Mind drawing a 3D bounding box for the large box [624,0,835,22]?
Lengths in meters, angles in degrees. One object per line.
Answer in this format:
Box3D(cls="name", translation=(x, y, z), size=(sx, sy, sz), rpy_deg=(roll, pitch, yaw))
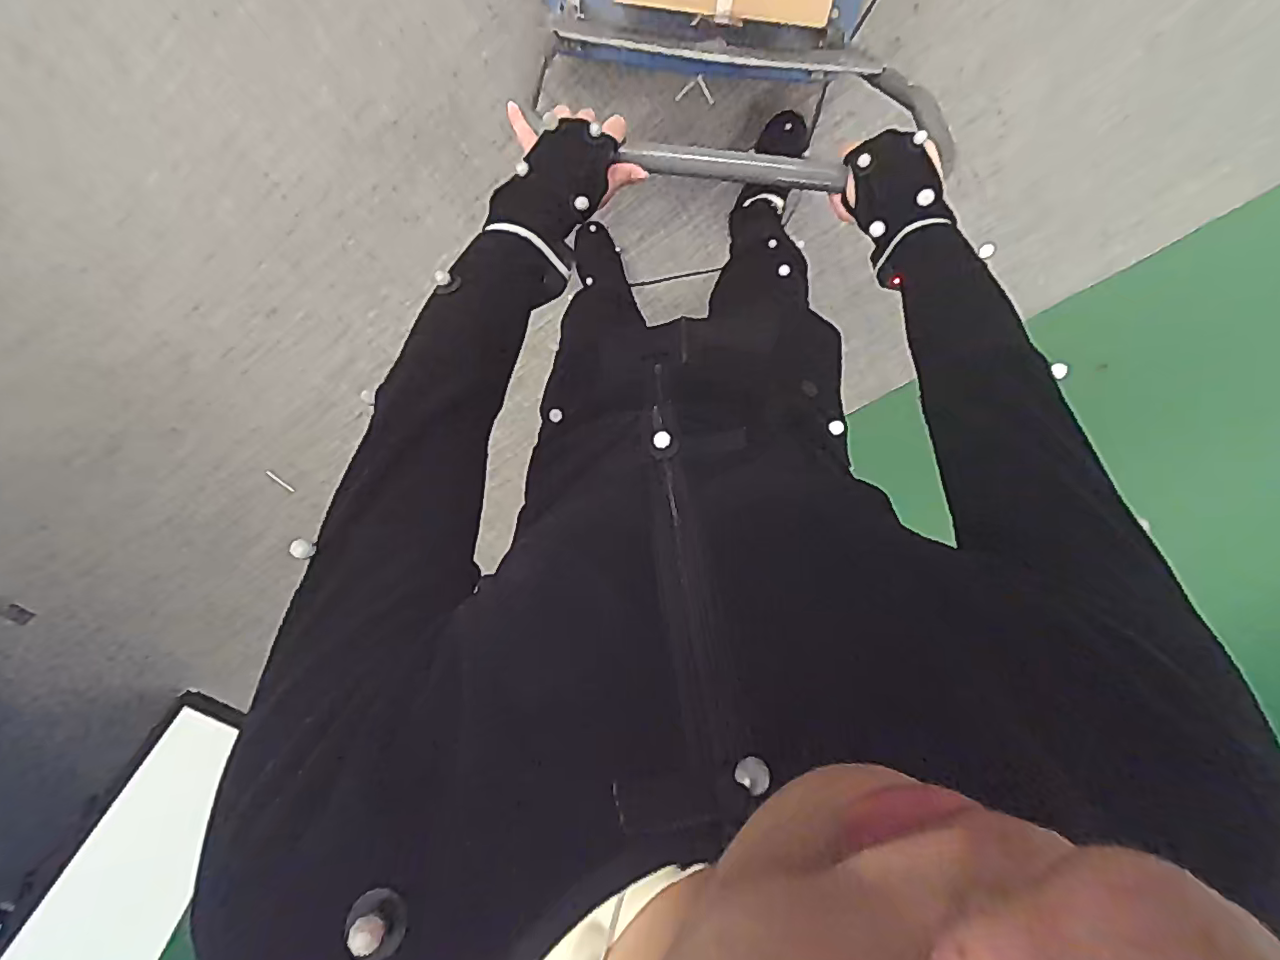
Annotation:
Box3D(cls="large box", translation=(0.140, -0.917, 0.757), size=(0.320, 0.320, 0.408), rpy_deg=(4, 132, -3))
